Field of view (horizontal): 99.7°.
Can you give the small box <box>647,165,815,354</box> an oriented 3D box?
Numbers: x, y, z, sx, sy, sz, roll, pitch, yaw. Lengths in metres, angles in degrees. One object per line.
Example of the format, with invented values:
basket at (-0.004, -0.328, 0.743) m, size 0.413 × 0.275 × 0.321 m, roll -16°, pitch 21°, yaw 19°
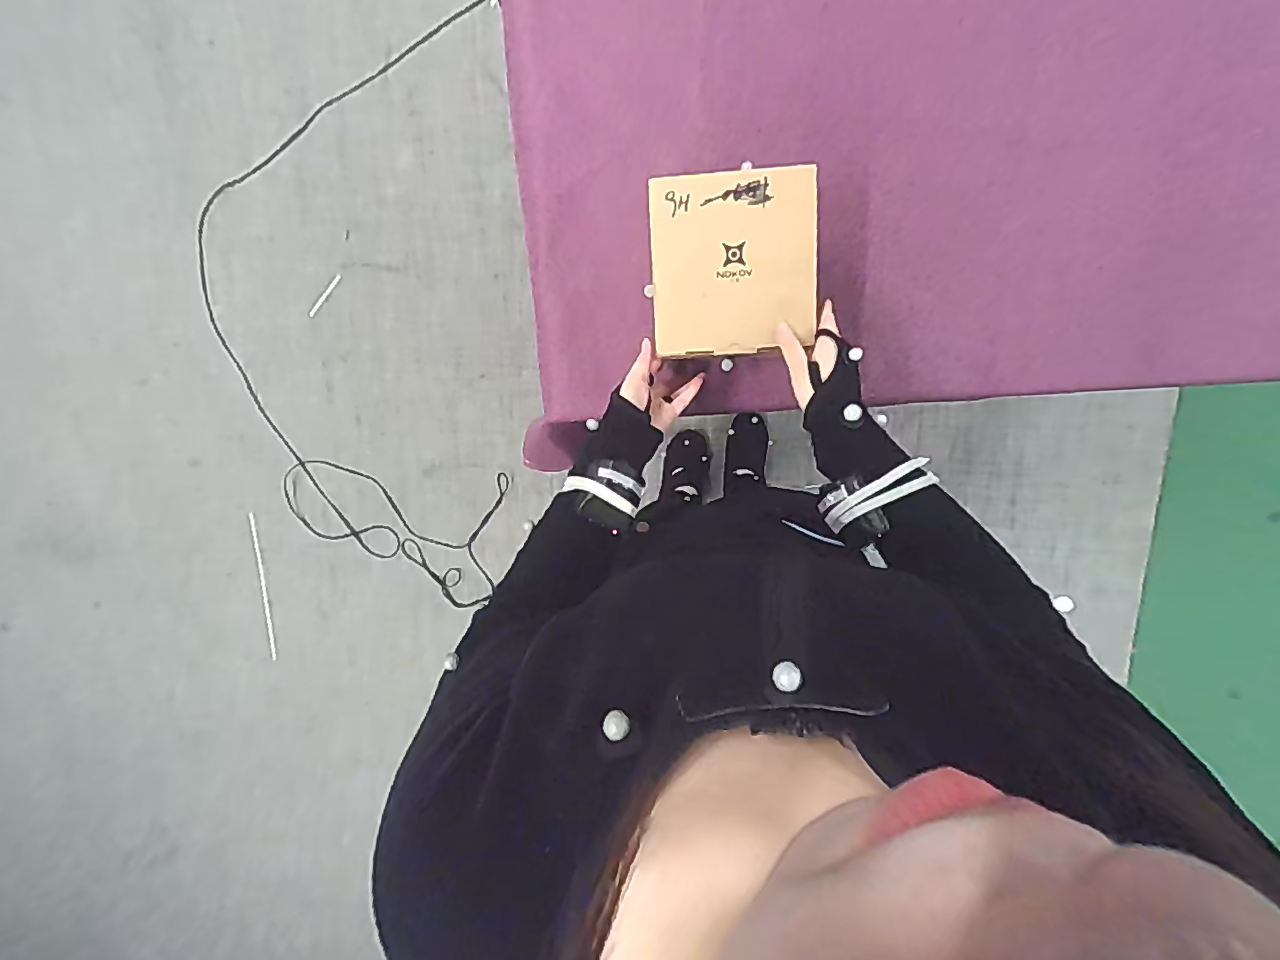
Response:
small box at (0.096, -0.236, 0.622) m, size 0.168 × 0.176 × 0.179 m, roll -1°, pitch 102°, yaw 4°
